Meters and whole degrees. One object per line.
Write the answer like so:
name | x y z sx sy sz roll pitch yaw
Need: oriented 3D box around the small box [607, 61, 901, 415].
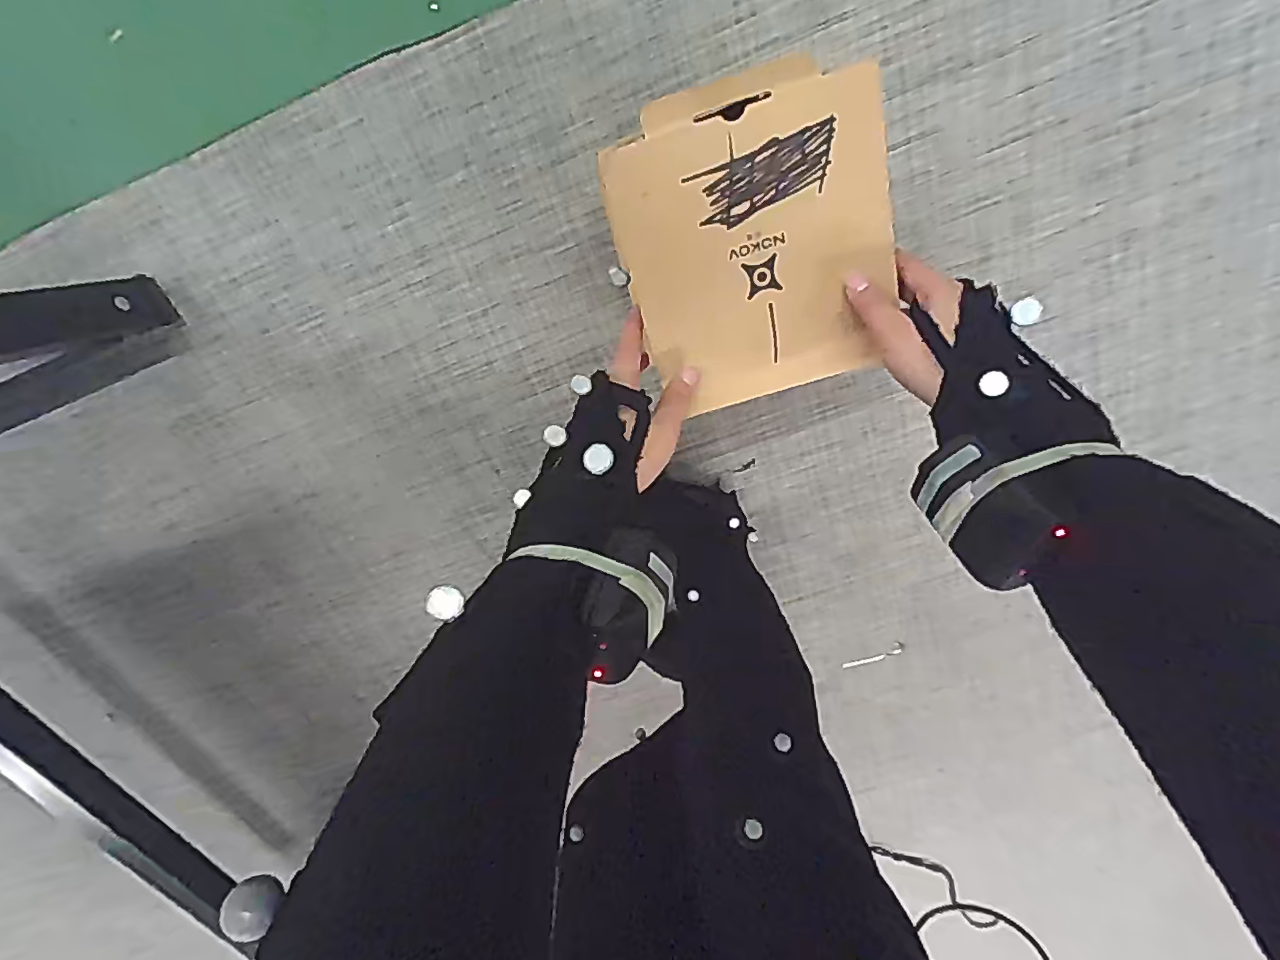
small box | 0.076 -0.174 0.416 0.168 0.176 0.179 -15 115 6
